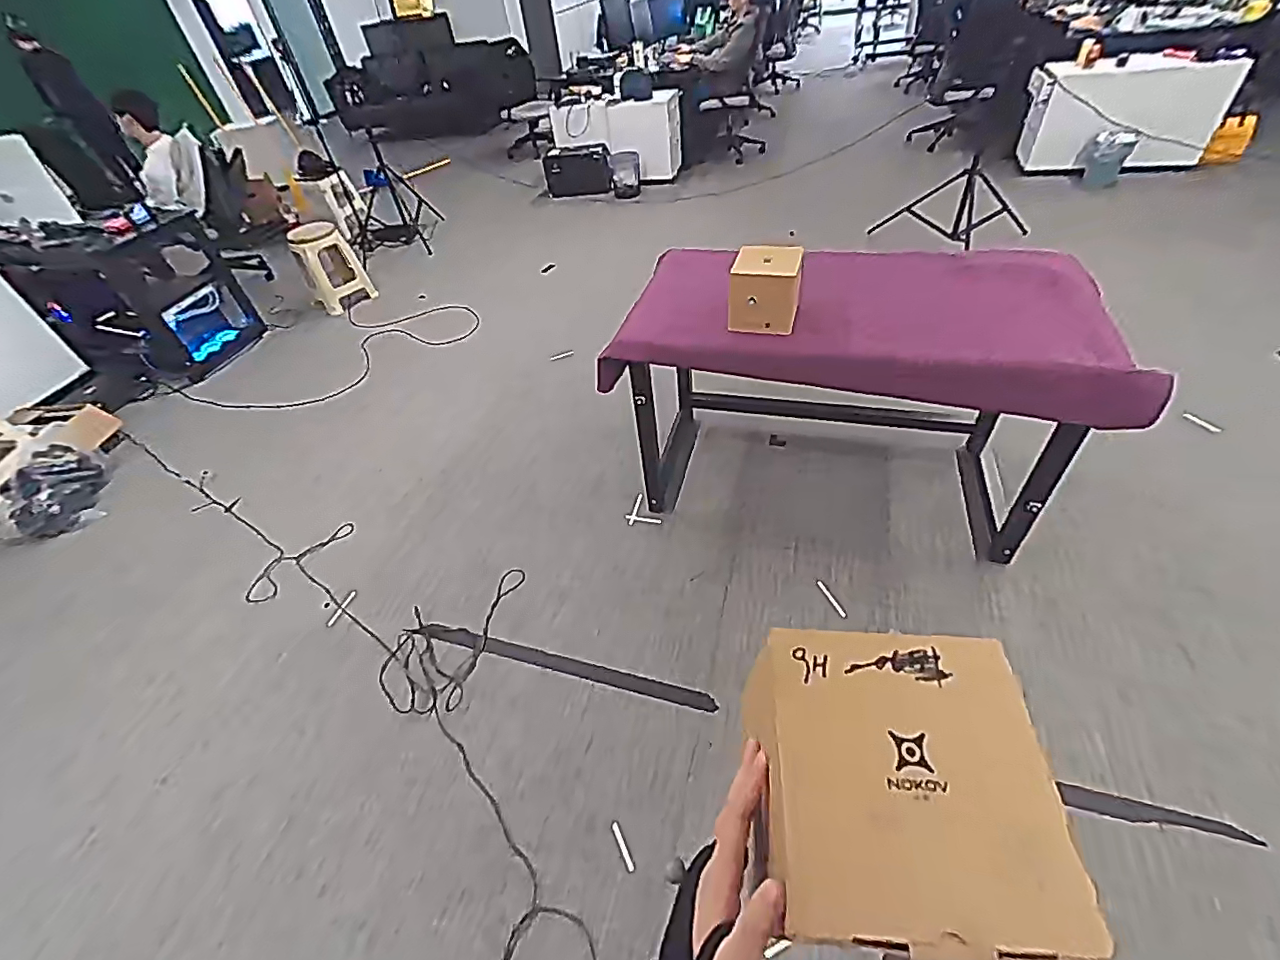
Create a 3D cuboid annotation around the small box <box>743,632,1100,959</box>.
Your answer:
[{"bbox_3d":[0.171,0.232,0.402,0.168,0.176,0.179,2,52,3],"label":"small box"}]

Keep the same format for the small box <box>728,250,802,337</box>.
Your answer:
[{"bbox_3d":[0.335,-0.501,1.456,0.168,0.176,0.179,9,46,17],"label":"small box"}]
